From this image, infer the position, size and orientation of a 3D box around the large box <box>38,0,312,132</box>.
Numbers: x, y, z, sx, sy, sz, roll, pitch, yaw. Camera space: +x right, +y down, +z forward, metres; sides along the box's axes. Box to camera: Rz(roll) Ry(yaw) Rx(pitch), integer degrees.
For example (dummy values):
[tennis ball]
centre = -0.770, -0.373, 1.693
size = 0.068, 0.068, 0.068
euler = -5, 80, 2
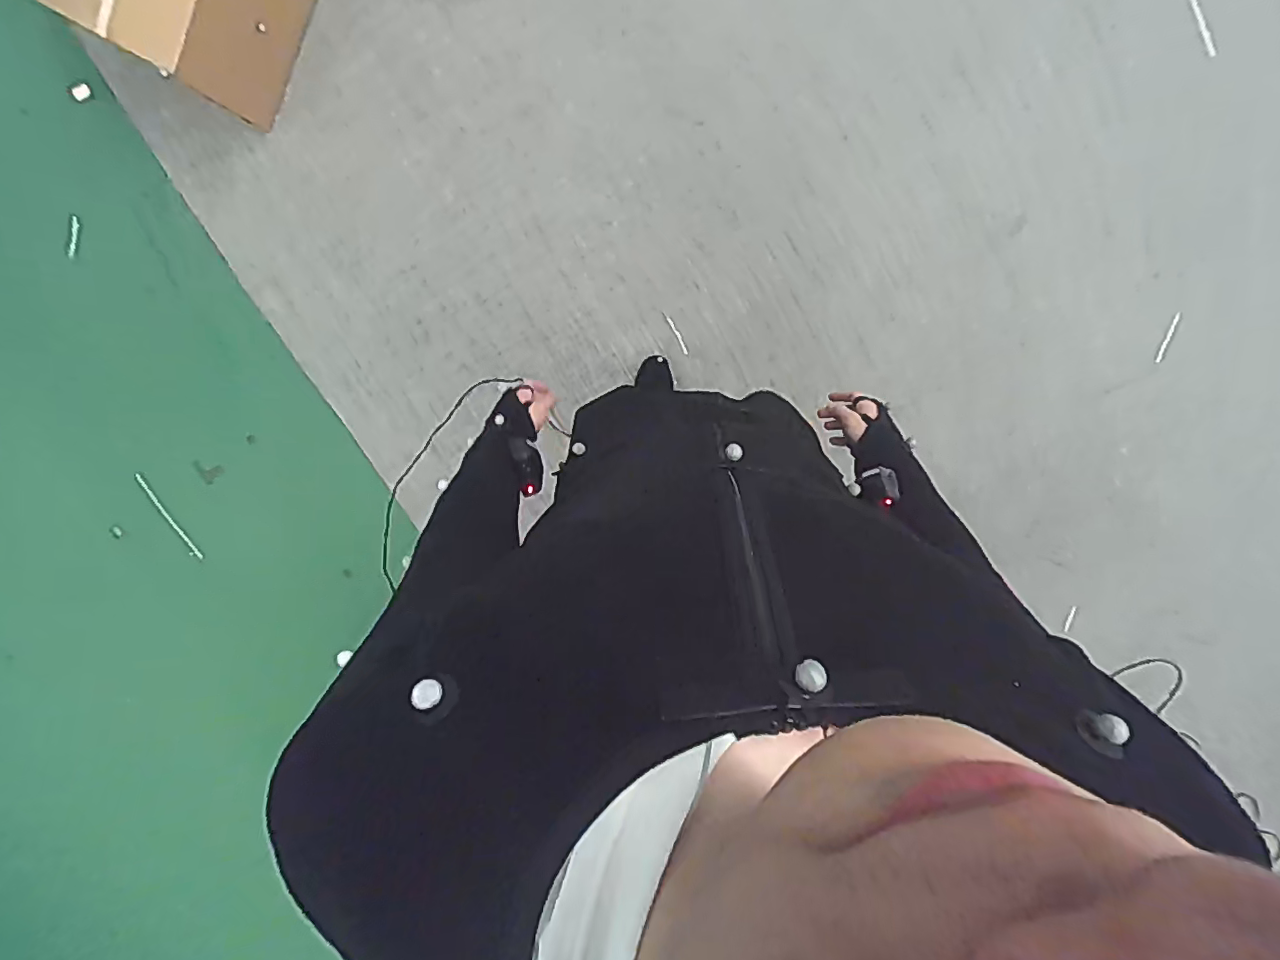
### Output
[large box]
centre = -1.032, -1.127, 1.244
size = 0.320, 0.320, 0.408
euler = 28, 102, -5
